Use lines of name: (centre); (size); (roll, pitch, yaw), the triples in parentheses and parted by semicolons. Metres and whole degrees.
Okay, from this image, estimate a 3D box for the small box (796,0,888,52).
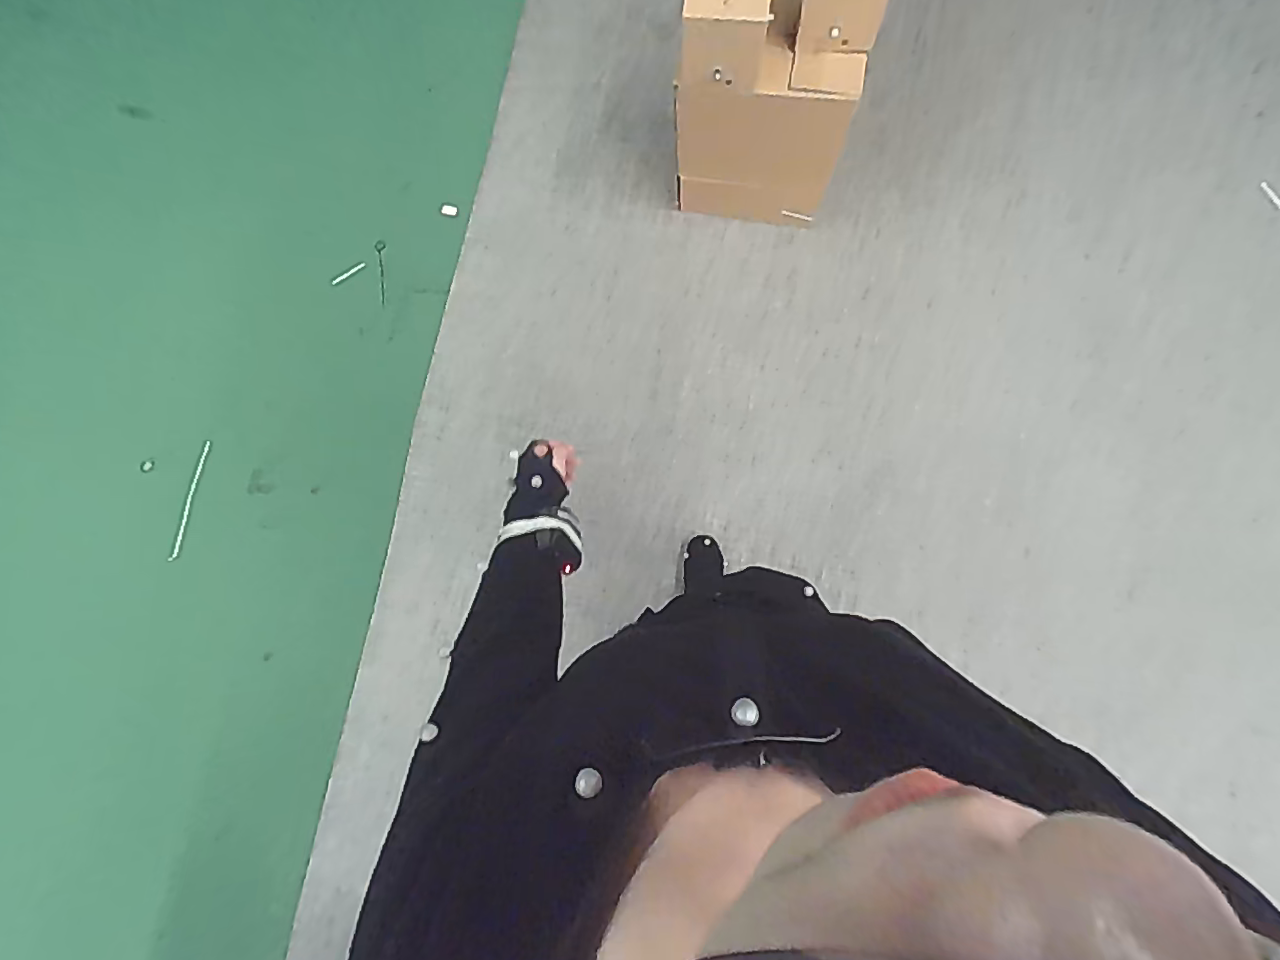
small box: (0.421, -1.032, 1.108); (0.168, 0.176, 0.179); (6, 84, 8)
